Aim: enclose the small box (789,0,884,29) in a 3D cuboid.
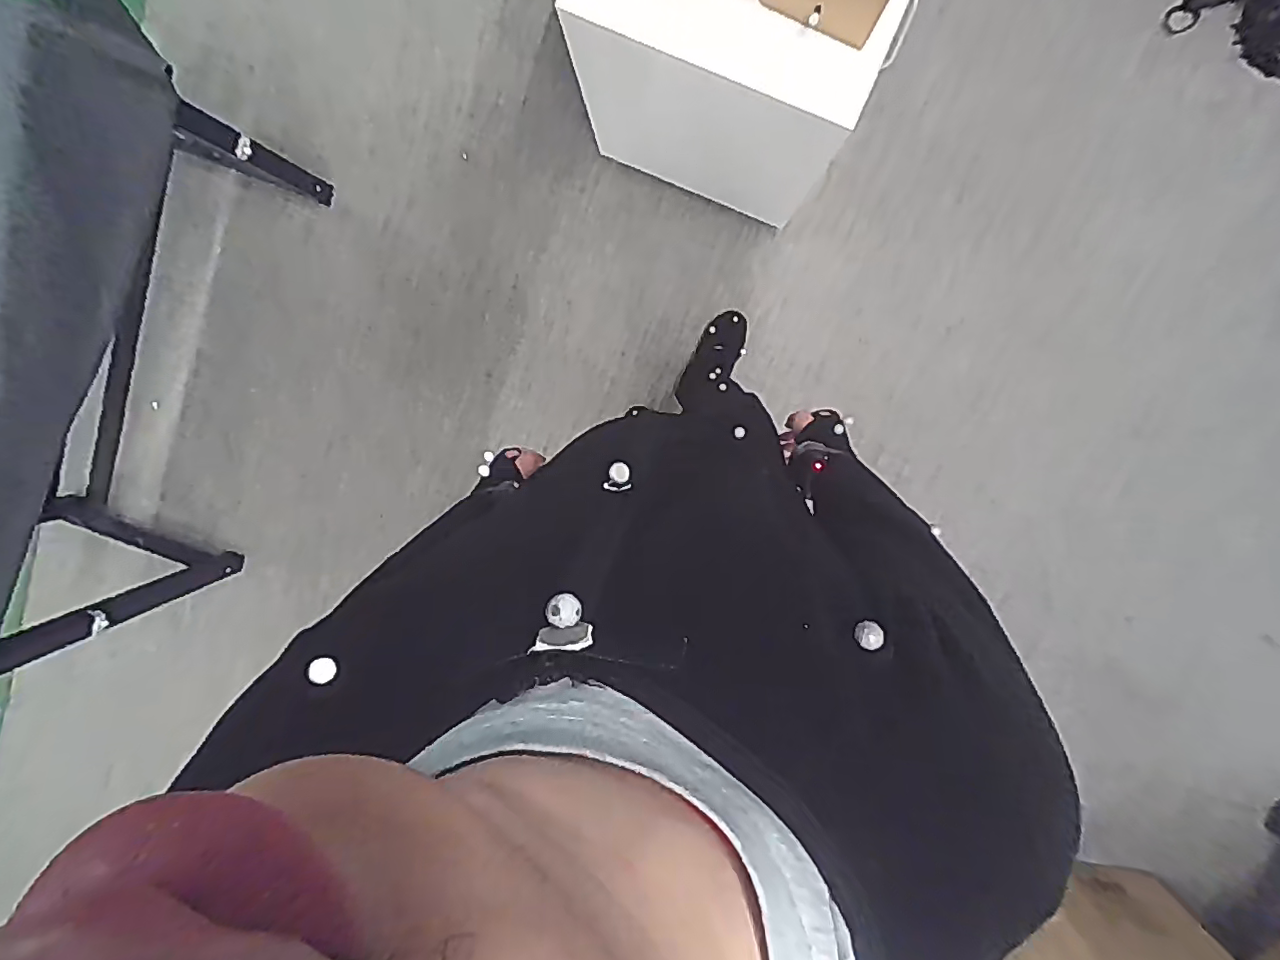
[{"bbox_3d":[0.287,-0.755,0.716,0.179,0.176,0.168,24,101,-3],"label":"small box"}]
